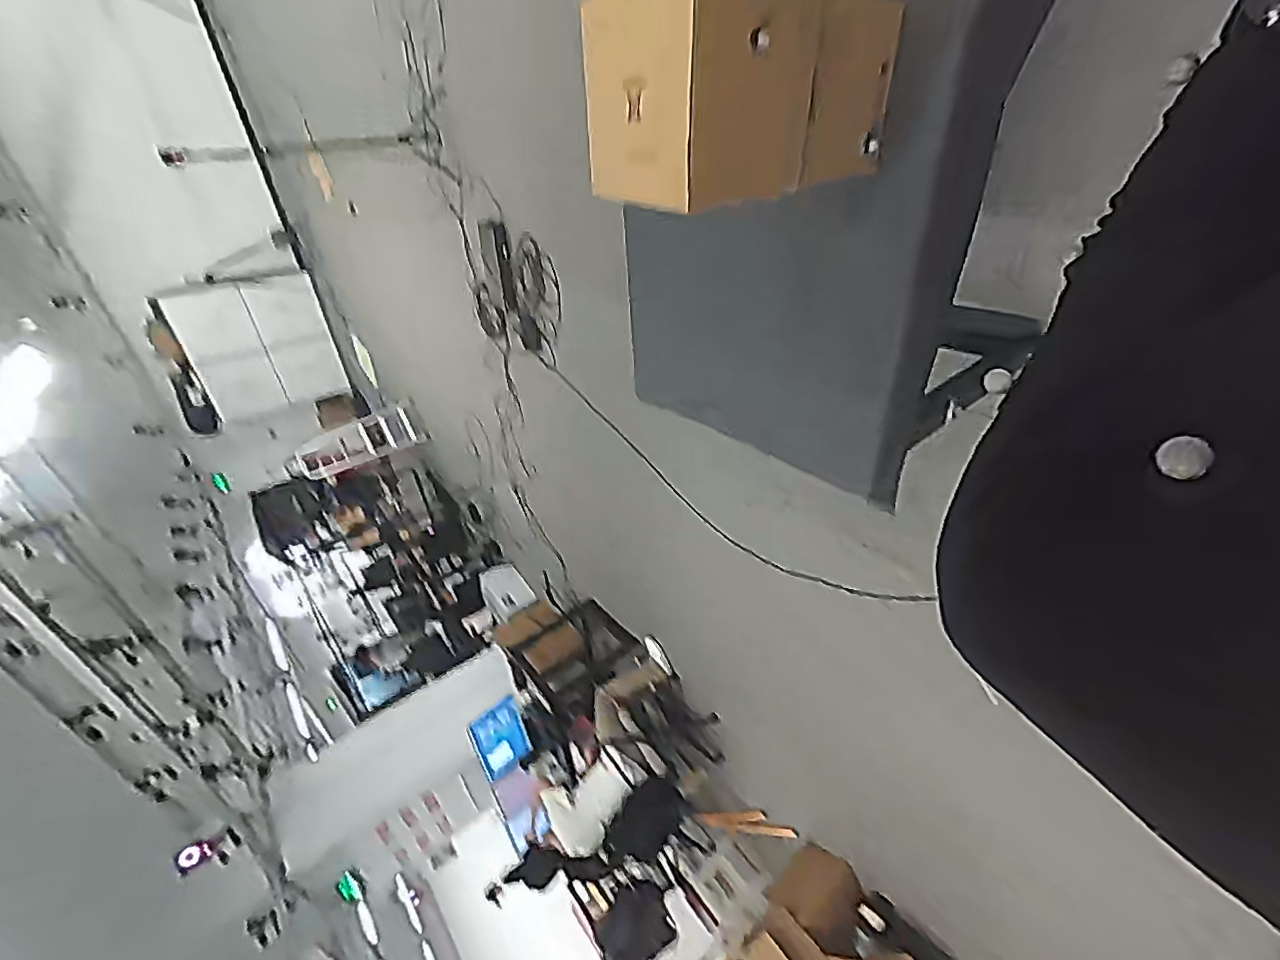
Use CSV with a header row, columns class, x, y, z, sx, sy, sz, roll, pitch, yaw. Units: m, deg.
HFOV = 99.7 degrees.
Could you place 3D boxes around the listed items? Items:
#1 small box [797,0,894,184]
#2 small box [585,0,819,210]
class,x,y,z,sx,sy,sz,roll,pitch,yaw
small box,0.180,-0.465,0.659,0.179,0.176,0.168,29,136,43
small box,0.064,-0.400,0.566,0.168,0.176,0.179,36,142,42
